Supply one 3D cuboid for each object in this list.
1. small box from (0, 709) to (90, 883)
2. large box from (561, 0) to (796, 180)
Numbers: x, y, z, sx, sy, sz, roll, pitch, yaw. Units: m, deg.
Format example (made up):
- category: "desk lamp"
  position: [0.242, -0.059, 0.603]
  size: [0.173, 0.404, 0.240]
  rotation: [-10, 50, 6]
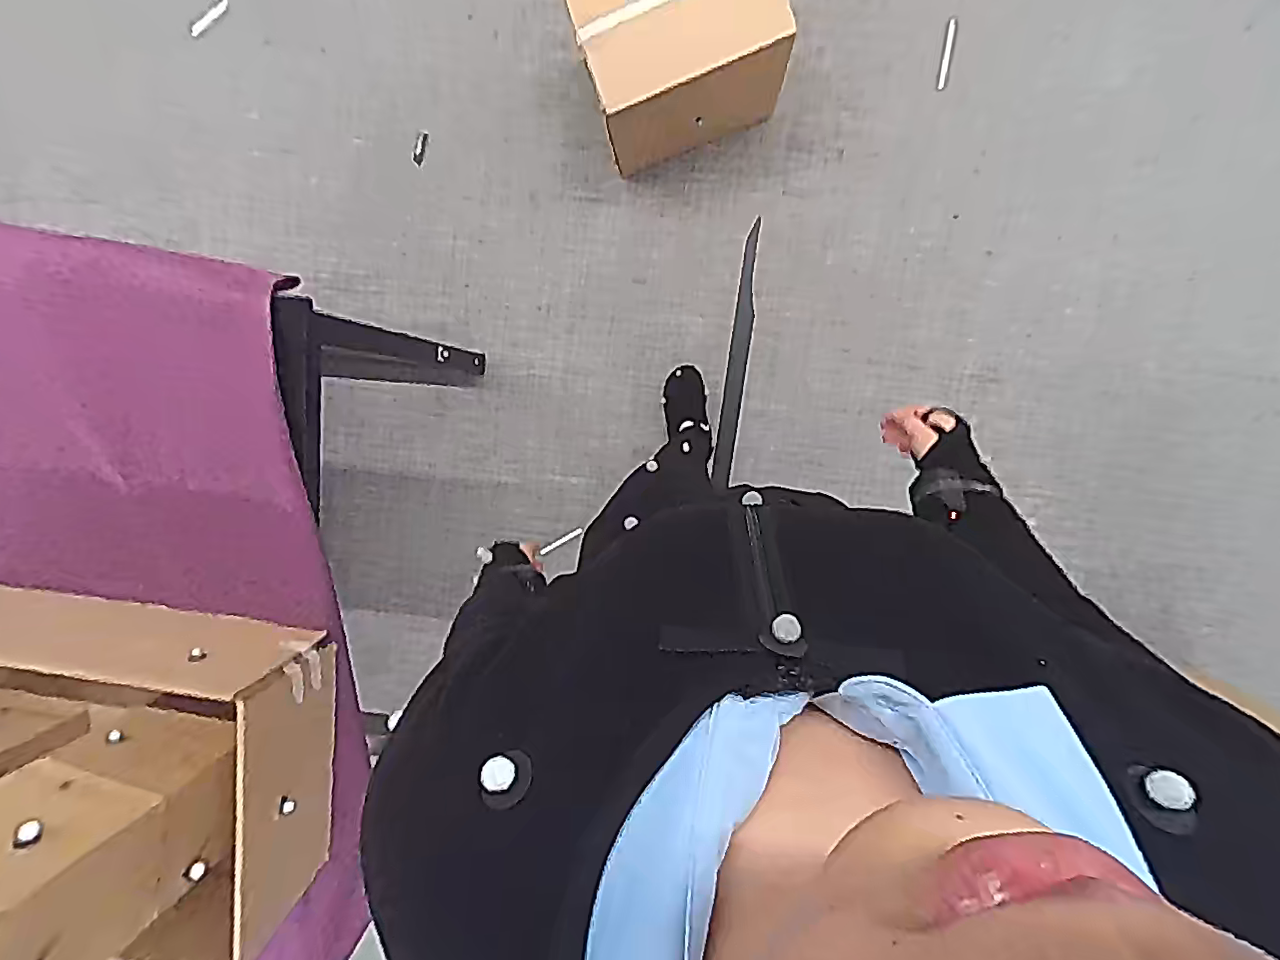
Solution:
- category: "small box"
  position: [-0.912, 0.435, 0.736]
  size: [0.168, 0.176, 0.179]
  rotation: [3, 96, 3]
- category: "large box"
  position: [0.082, -0.952, 1.202]
  size: [0.408, 0.320, 0.320]
  rotation: [-20, 94, 8]
